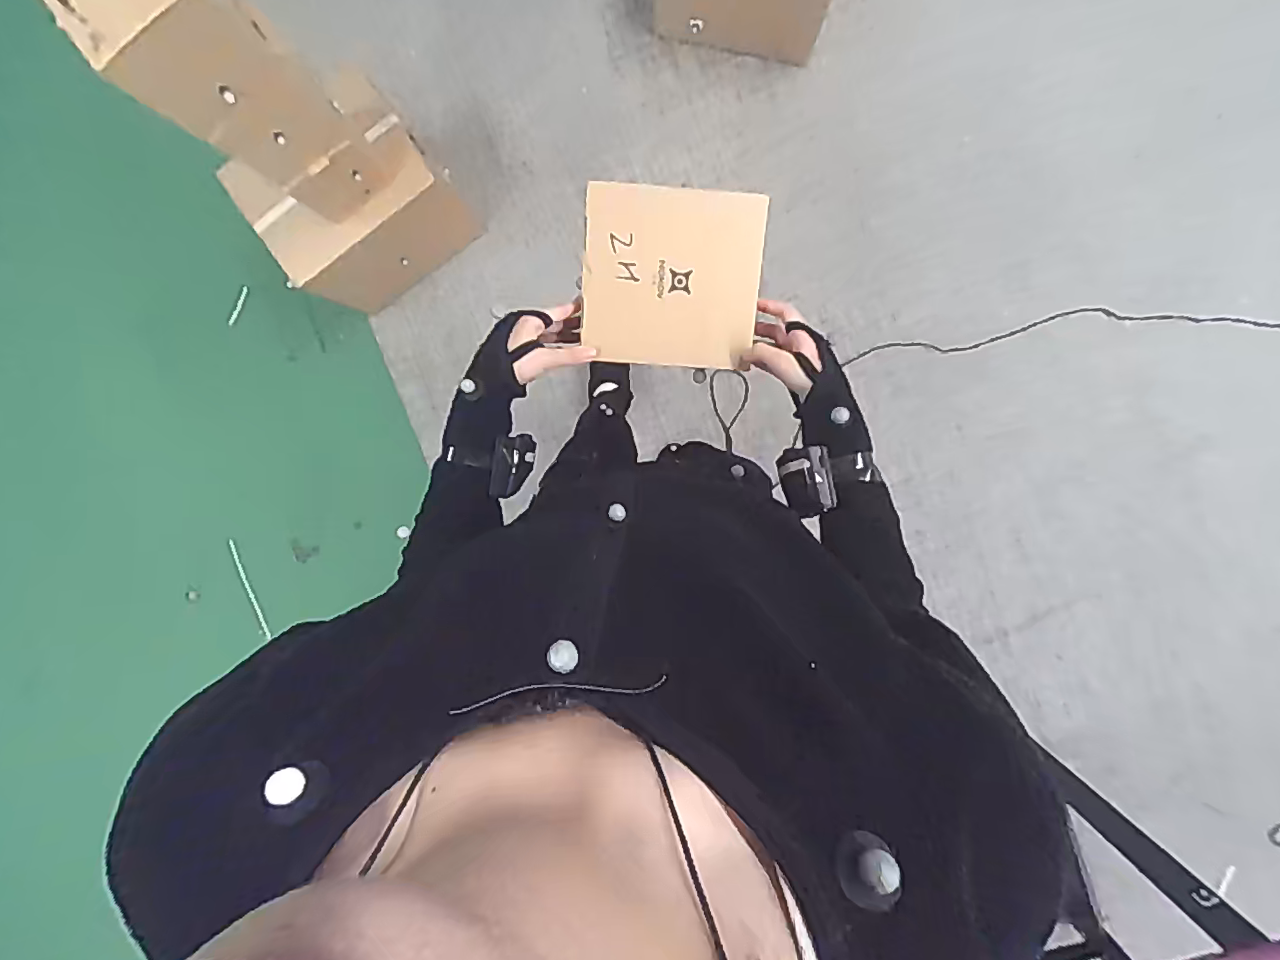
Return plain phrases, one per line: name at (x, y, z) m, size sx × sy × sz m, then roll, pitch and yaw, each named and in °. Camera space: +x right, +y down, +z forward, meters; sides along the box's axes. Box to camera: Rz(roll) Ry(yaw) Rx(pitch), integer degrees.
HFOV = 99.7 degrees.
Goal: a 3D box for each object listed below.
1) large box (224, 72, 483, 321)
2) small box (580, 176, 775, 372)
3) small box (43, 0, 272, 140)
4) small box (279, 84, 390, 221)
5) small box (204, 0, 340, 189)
large box at (-0.677, -0.662, 1.340) m, size 0.408 × 0.320 × 0.320 m, roll -35°, pitch 90°, yaw 6°
small box at (0.032, -0.214, 0.598) m, size 0.179 × 0.176 × 0.168 m, roll 4°, pitch 104°, yaw -2°
small box at (-0.670, -0.639, 0.766) m, size 0.179 × 0.176 × 0.168 m, roll -35°, pitch 91°, yaw 4°
small box at (-0.649, -0.657, 1.093) m, size 0.168 × 0.176 × 0.179 m, roll -34°, pitch 92°, yaw 5°
small box at (-0.658, -0.650, 0.930) m, size 0.179 × 0.176 × 0.168 m, roll -35°, pitch 92°, yaw 5°
